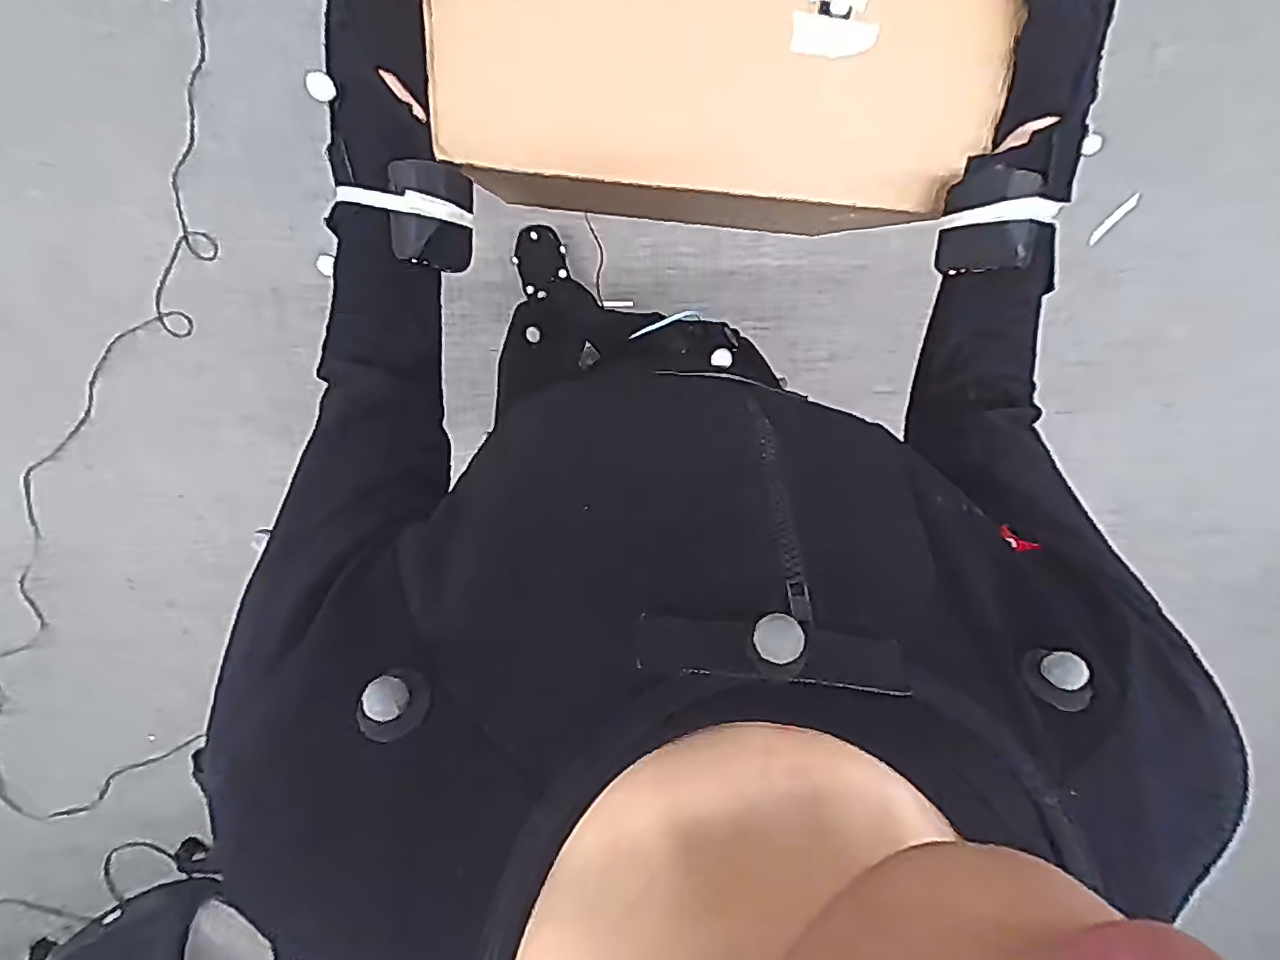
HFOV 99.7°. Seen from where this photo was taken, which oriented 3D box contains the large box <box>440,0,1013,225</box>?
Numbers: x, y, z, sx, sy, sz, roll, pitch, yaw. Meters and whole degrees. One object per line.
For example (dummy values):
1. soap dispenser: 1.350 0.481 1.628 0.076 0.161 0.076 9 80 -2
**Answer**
1. large box: 0.053 -0.422 0.490 0.408 0.320 0.320 2 113 -7
